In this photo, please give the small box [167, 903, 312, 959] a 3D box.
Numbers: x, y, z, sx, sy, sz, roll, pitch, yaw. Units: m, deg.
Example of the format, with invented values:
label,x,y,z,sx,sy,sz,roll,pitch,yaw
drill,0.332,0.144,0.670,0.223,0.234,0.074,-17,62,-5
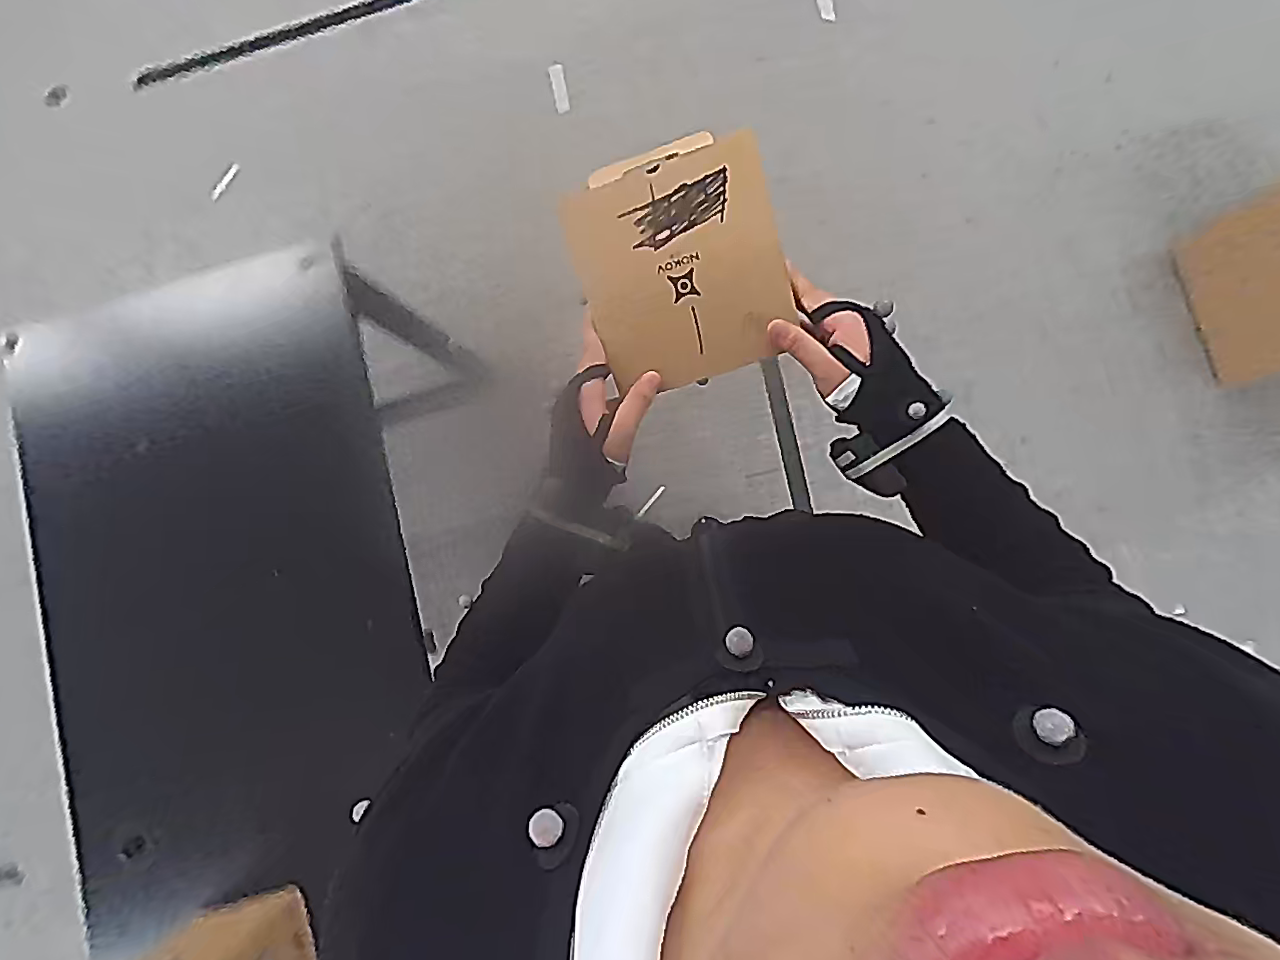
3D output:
label,x,y,z,sx,sy,sz,roll,pitch,yaw
small box,-0.556,0.707,0.710,0.179,0.176,0.168,-19,84,5
